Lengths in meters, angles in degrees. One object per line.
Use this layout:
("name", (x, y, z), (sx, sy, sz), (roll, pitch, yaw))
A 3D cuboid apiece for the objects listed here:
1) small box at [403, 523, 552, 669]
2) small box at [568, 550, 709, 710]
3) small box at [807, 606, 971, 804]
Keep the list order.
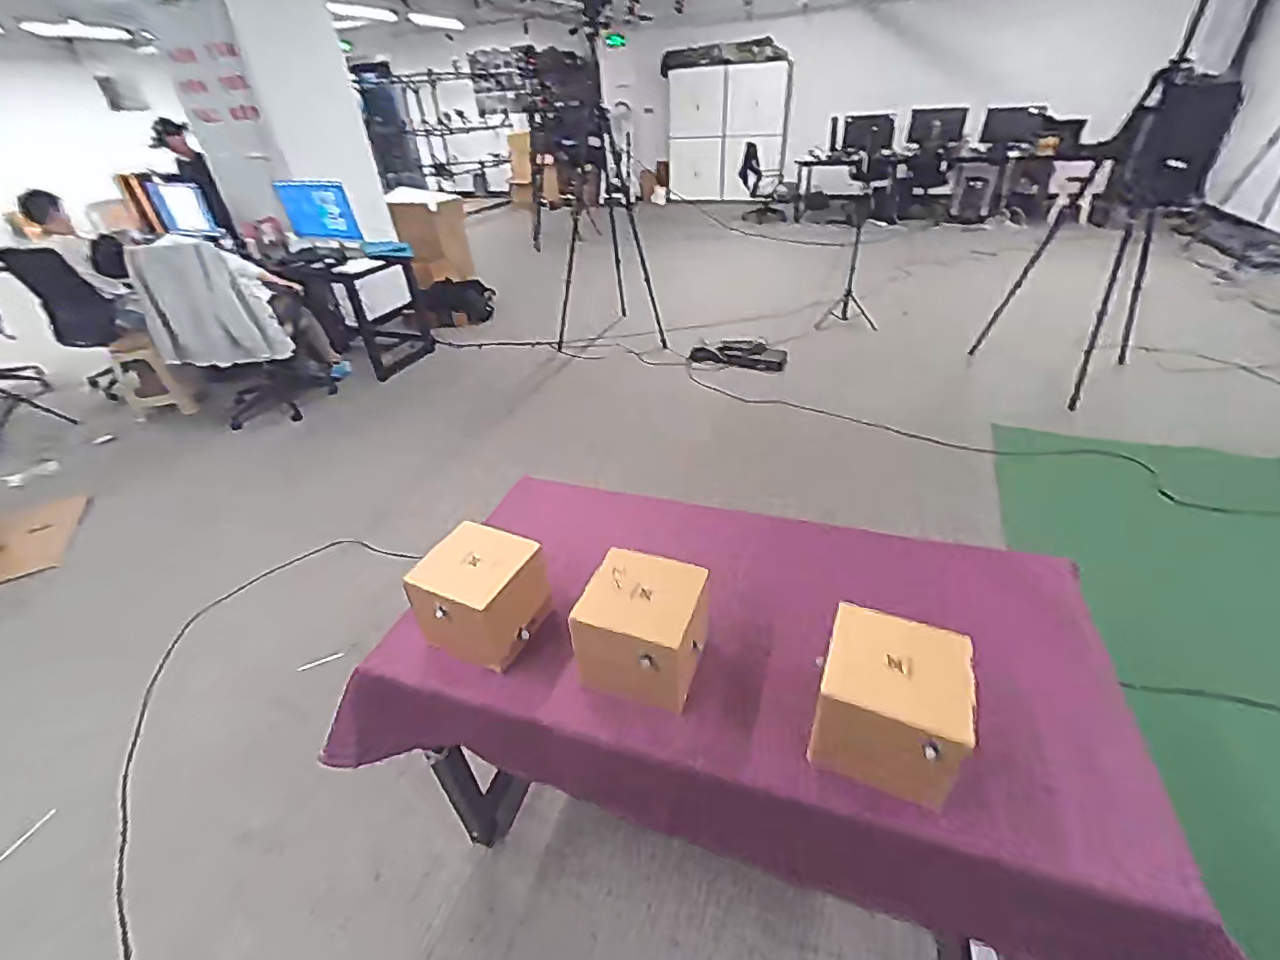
("small box", (-0.281, 0.206, 0.966), (0.179, 0.176, 0.168), (14, 39, 22))
("small box", (0.006, 0.244, 0.882), (0.179, 0.176, 0.168), (10, 37, 20))
("small box", (0.342, 0.312, 0.756), (0.179, 0.176, 0.168), (13, 38, 22))
